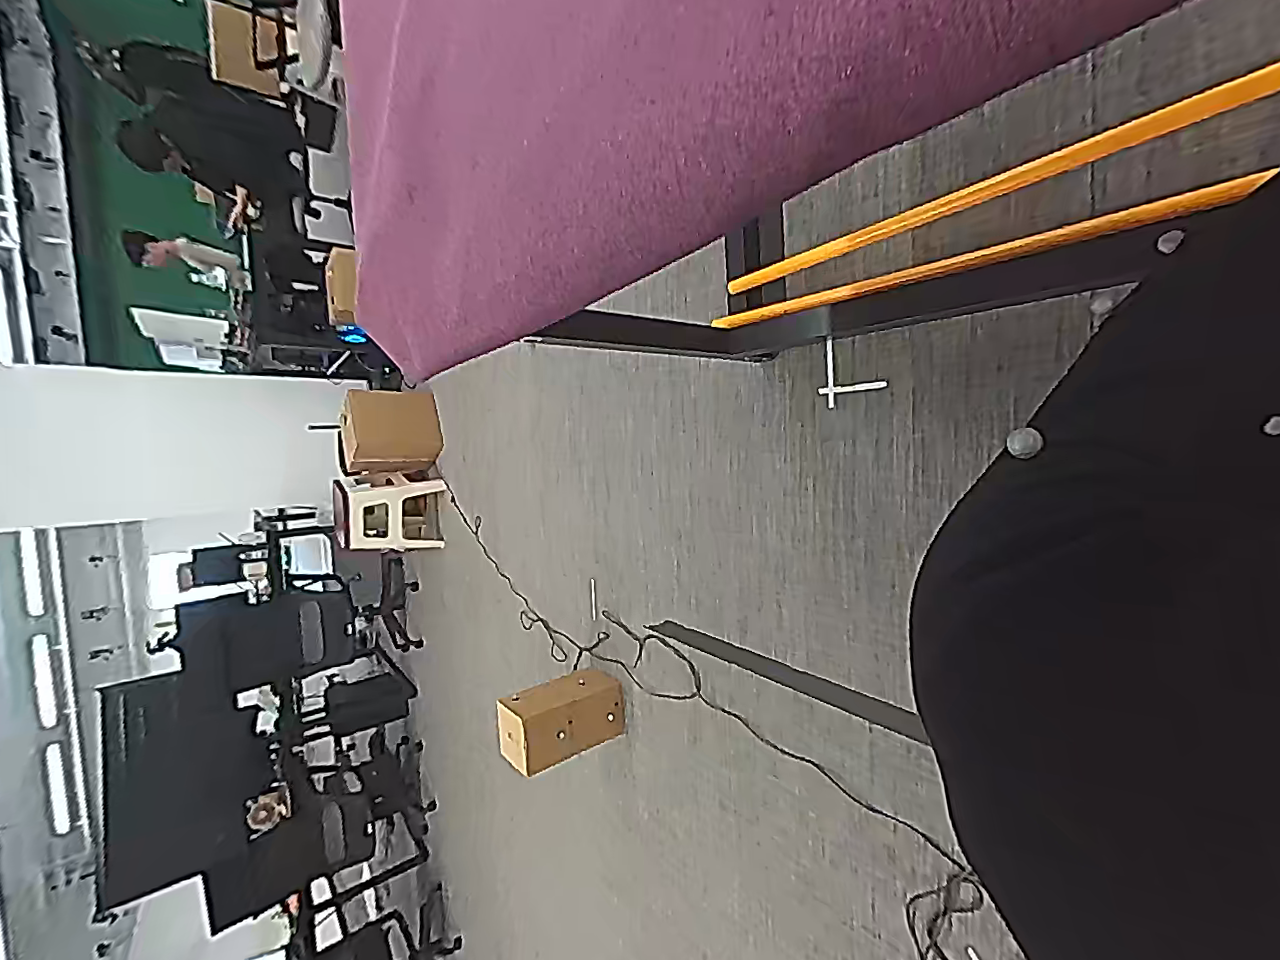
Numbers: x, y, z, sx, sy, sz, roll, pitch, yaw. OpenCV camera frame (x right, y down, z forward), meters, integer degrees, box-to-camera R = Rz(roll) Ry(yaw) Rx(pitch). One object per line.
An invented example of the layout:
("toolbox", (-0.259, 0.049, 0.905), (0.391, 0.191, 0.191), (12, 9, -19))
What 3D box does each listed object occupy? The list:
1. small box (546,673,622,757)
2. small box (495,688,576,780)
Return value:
("small box", (-0.174, 0.714, 1.670), (0.179, 0.176, 0.168), (2, 96, 51))
("small box", (-0.303, 0.726, 1.568), (0.179, 0.176, 0.168), (0, 95, 51))
